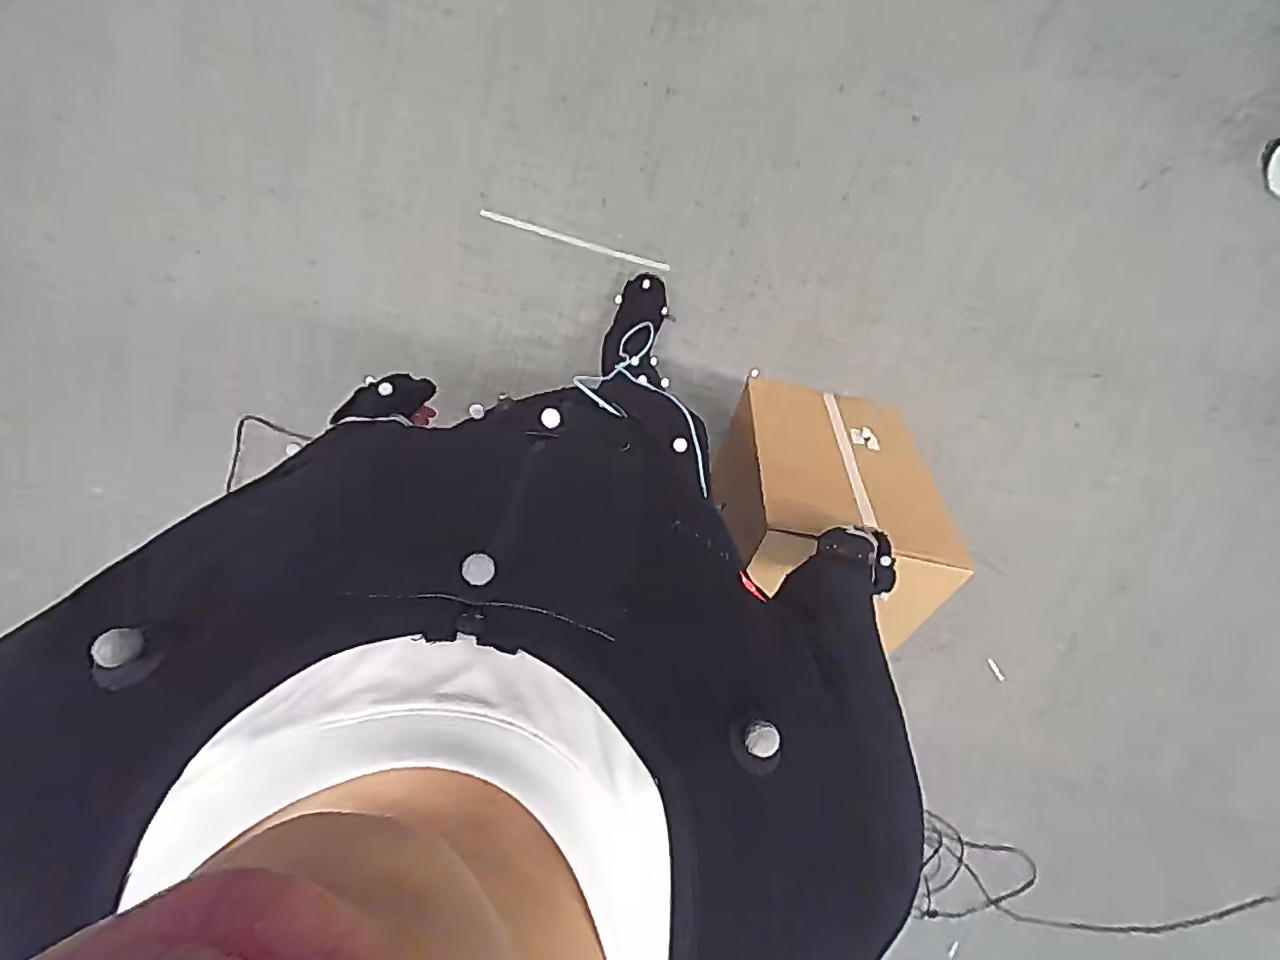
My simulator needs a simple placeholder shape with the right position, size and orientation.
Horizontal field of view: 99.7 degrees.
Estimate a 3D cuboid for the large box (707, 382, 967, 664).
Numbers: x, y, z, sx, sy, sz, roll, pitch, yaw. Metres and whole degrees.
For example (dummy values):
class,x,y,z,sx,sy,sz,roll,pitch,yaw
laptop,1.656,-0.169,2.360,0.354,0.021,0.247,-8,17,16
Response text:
class,x,y,z,sx,sy,sz,roll,pitch,yaw
large box,0.315,0.075,1.018,0.320,0.408,0.320,12,131,-5
